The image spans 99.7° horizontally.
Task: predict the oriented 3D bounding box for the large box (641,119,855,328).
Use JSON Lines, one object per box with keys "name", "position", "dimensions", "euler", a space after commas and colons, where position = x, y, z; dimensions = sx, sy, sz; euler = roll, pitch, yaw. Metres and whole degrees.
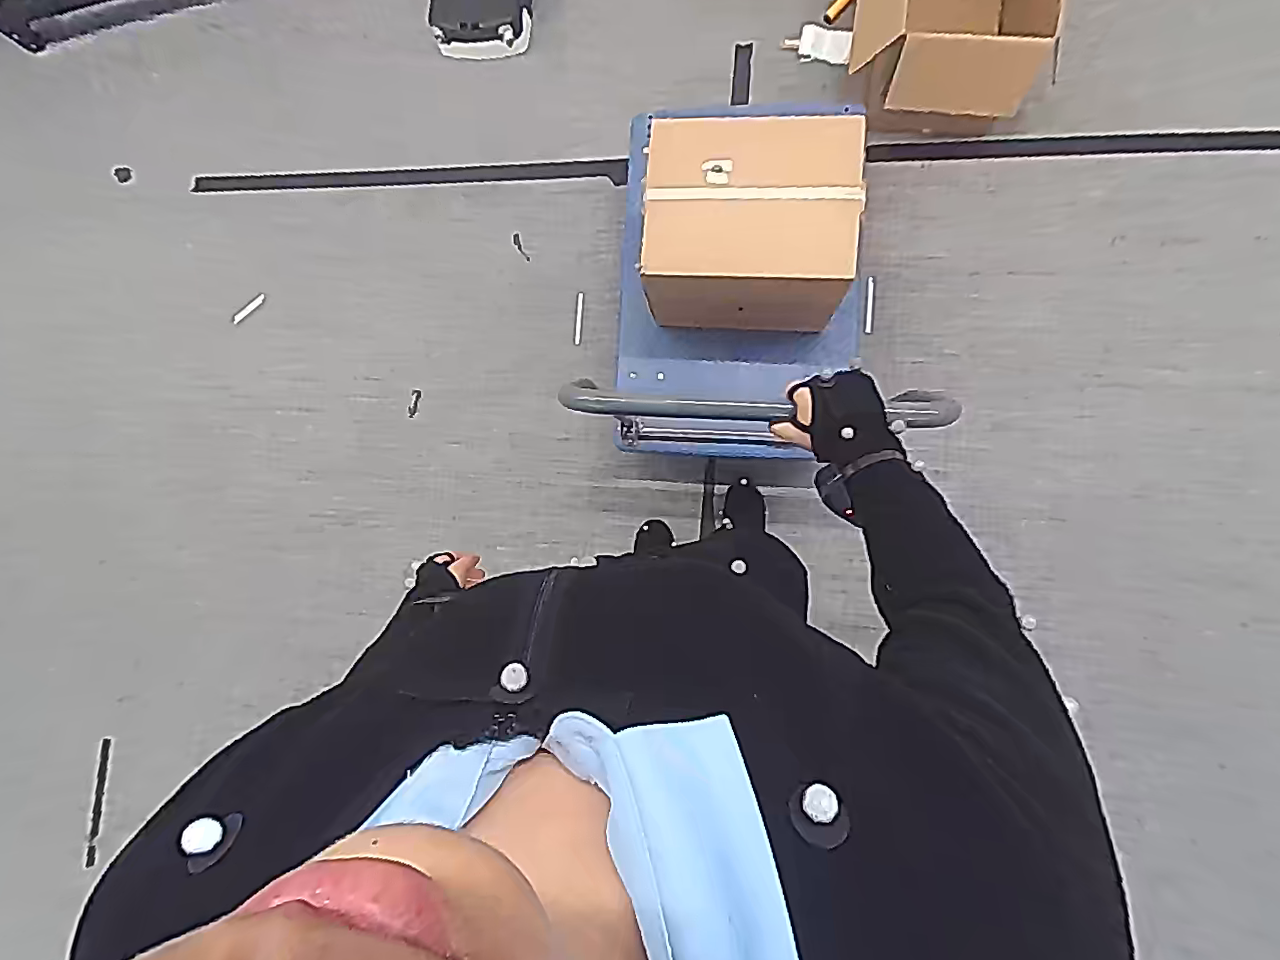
{"name": "large box", "position": [0.229, -0.533, 1.193], "dimensions": [0.408, 0.320, 0.320], "euler": [3, 87, 9]}
